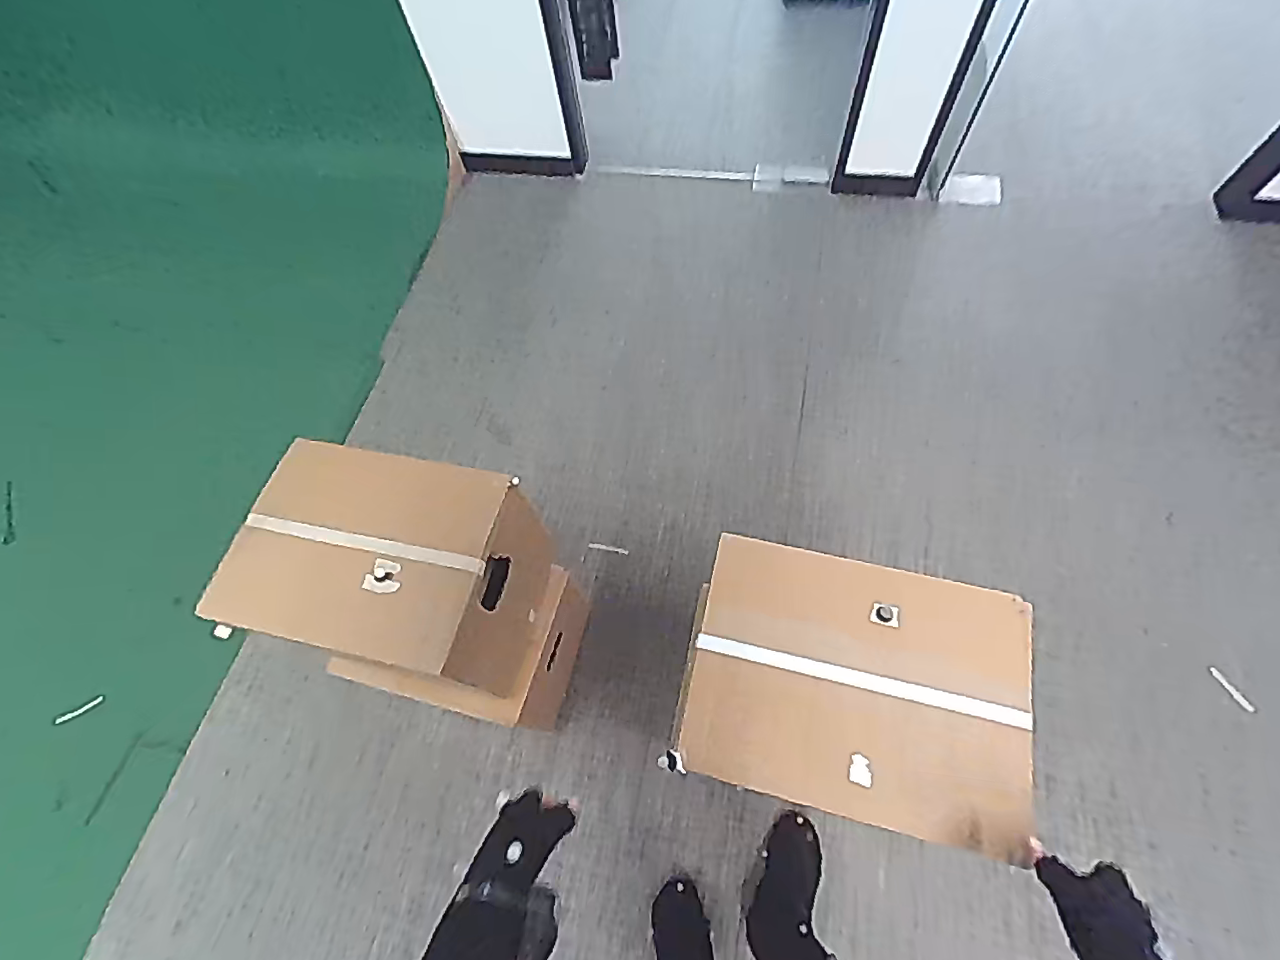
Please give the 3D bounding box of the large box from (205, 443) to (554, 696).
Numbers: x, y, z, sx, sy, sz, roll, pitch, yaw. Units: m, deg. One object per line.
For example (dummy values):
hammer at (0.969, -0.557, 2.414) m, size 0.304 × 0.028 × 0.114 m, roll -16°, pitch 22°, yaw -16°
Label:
large box at (-0.411, 0.167, 0.965) m, size 0.408 × 0.320 × 0.320 m, roll 10°, pitch 63°, yaw 9°
